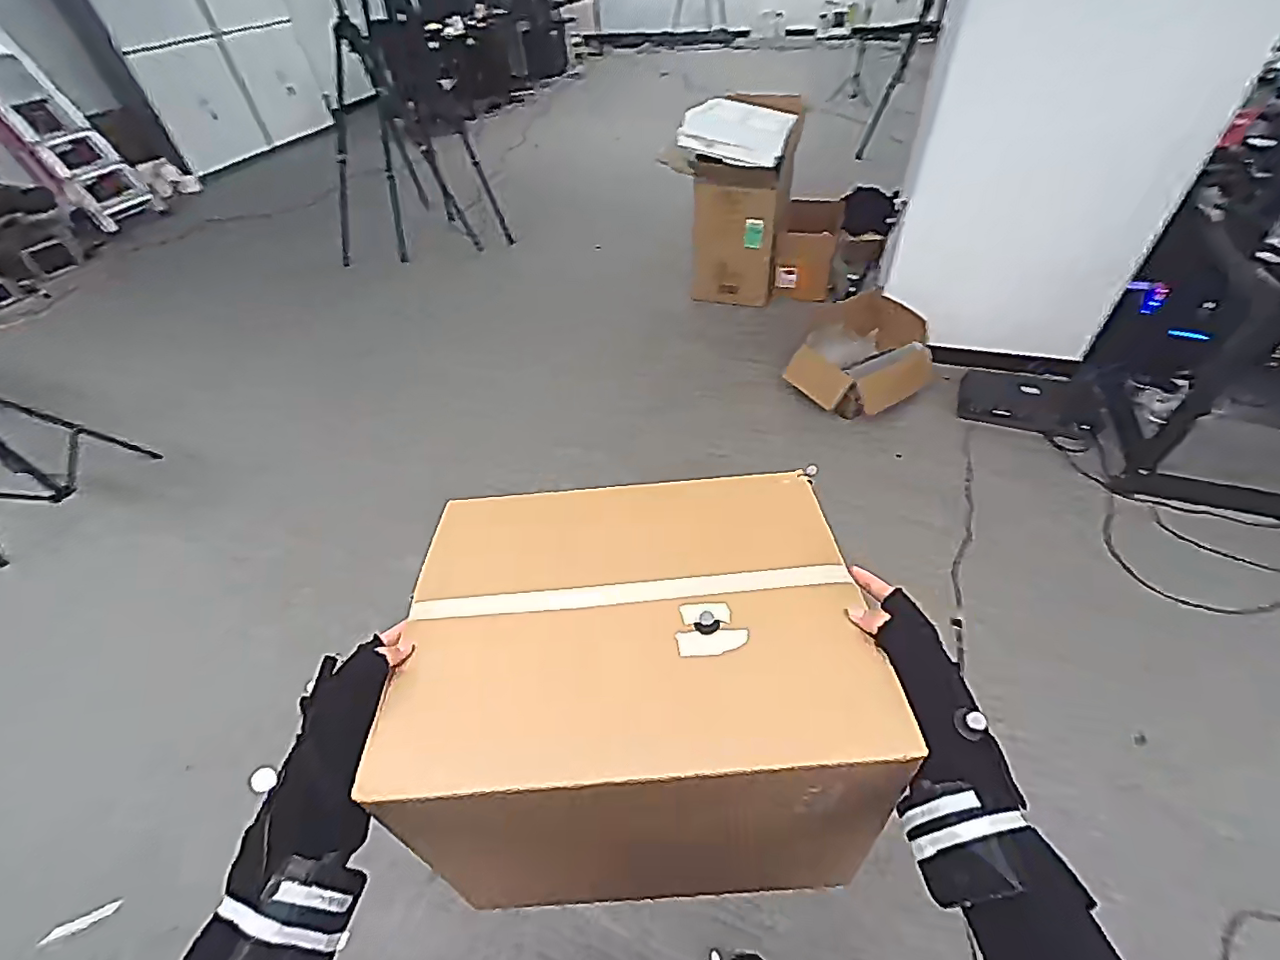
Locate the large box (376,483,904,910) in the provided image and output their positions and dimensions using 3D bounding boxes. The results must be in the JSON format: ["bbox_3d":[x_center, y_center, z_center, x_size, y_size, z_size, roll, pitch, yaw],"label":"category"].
[{"bbox_3d":[0.002,0.233,0.605,0.408,0.320,0.320,-5,39,1],"label":"large box"}]
